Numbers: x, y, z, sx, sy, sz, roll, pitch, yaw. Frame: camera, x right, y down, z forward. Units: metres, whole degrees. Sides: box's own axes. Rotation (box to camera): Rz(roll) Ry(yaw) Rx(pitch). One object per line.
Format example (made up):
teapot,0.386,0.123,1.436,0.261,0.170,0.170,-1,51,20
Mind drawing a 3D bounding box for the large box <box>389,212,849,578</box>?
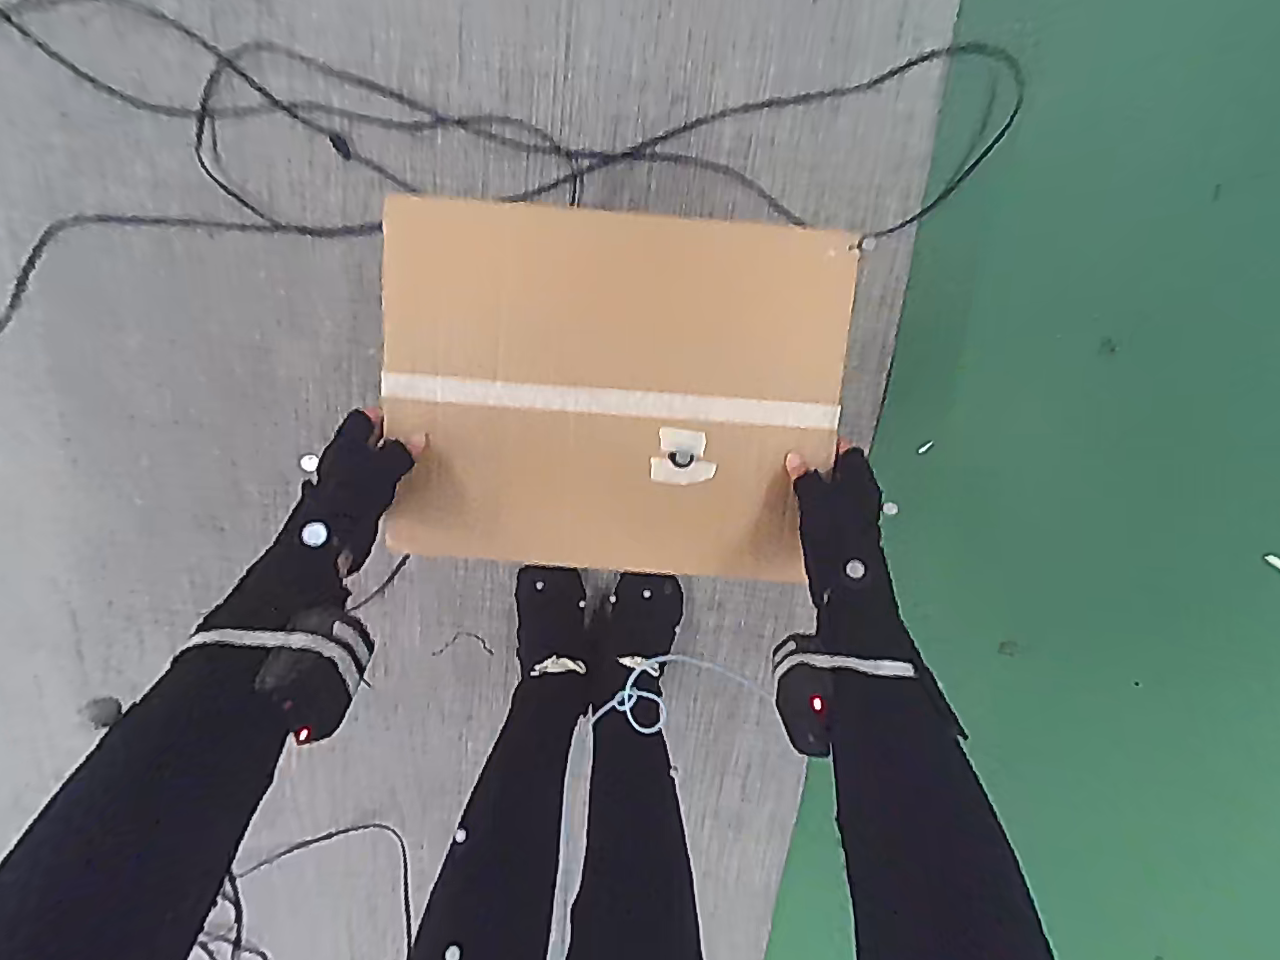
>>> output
large box,-0.028,-0.089,0.632,0.408,0.320,0.320,4,100,-1
